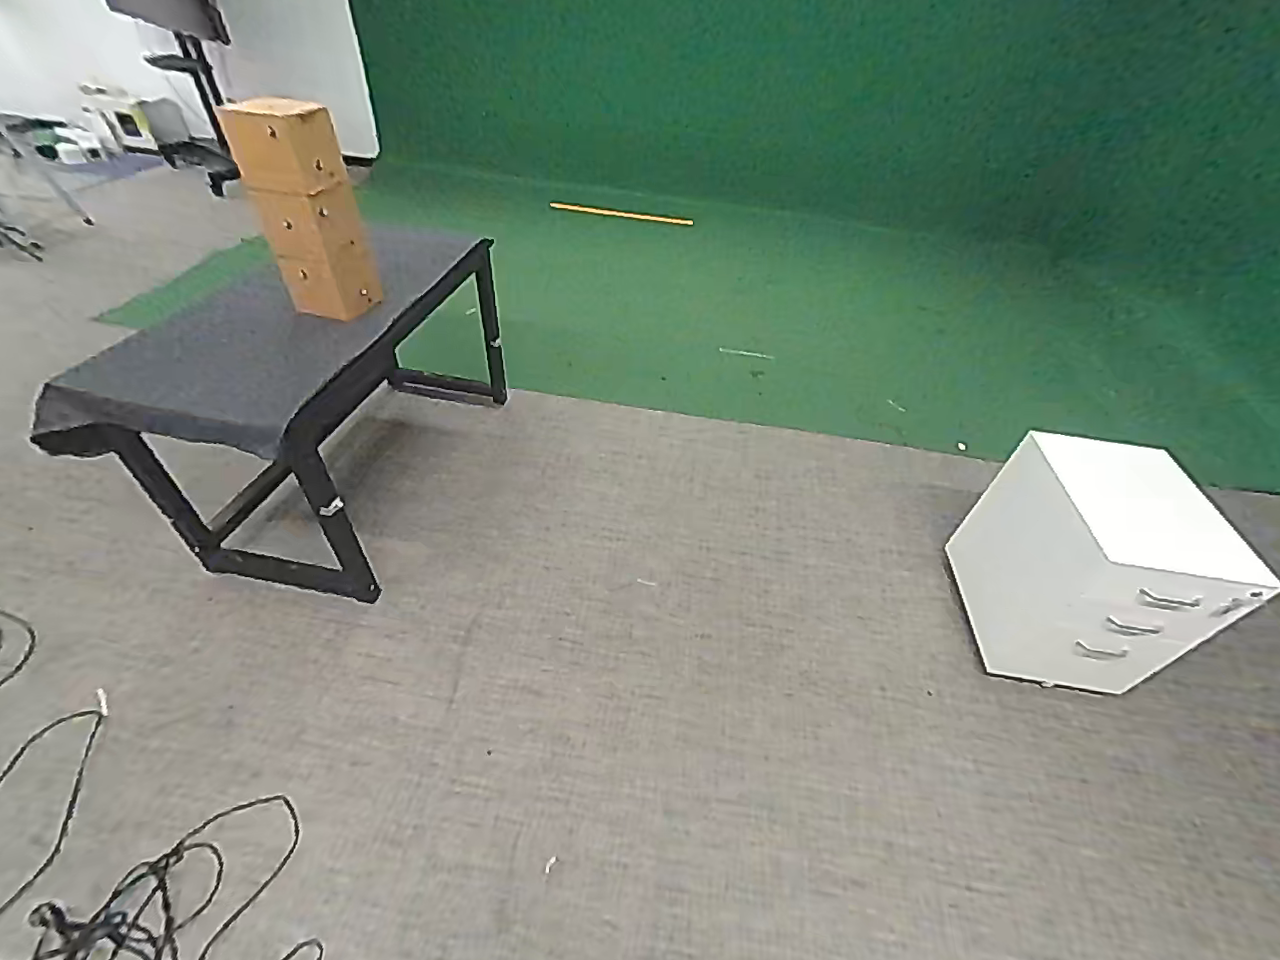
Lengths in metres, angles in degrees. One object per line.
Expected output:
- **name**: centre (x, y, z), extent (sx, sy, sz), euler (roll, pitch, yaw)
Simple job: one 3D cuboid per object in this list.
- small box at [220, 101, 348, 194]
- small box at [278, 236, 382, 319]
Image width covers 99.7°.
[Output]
- **small box**: centre (-0.867, -0.820, 1.336), extent (0.179, 0.176, 0.168), euler (10, 43, 6)
- **small box**: centre (-0.884, -0.582, 1.558), extent (0.179, 0.176, 0.168), euler (13, 44, 8)
